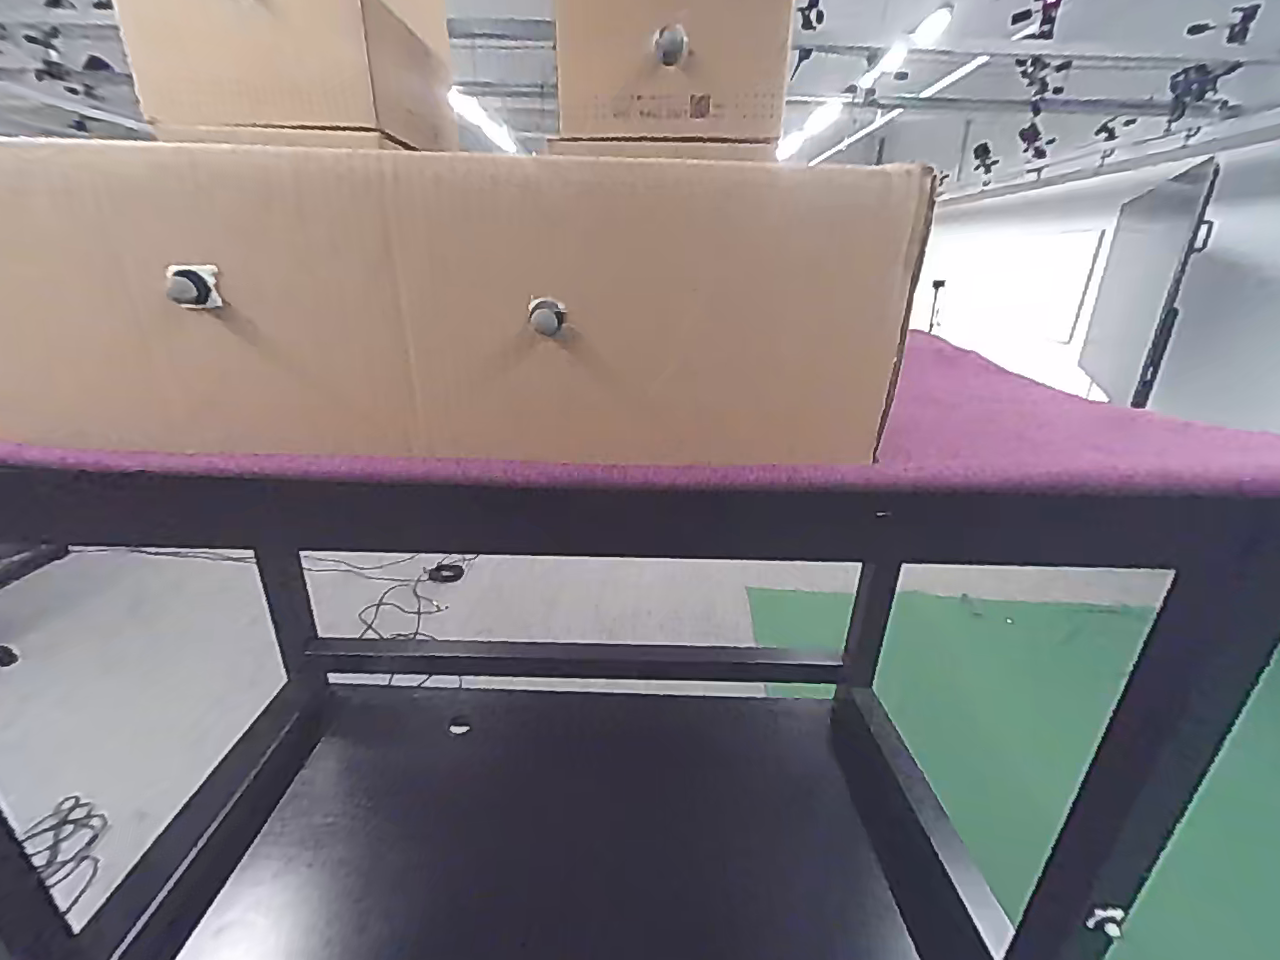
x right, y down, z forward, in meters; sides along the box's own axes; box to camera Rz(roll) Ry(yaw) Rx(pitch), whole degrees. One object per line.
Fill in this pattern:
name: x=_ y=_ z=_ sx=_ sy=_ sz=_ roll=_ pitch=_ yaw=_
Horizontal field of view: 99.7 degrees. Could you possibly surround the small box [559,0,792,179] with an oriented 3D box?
small box: x=0.027 y=-0.356 z=0.449 sx=0.168 sy=0.176 sz=0.179 roll=1 pitch=22 yaw=3
